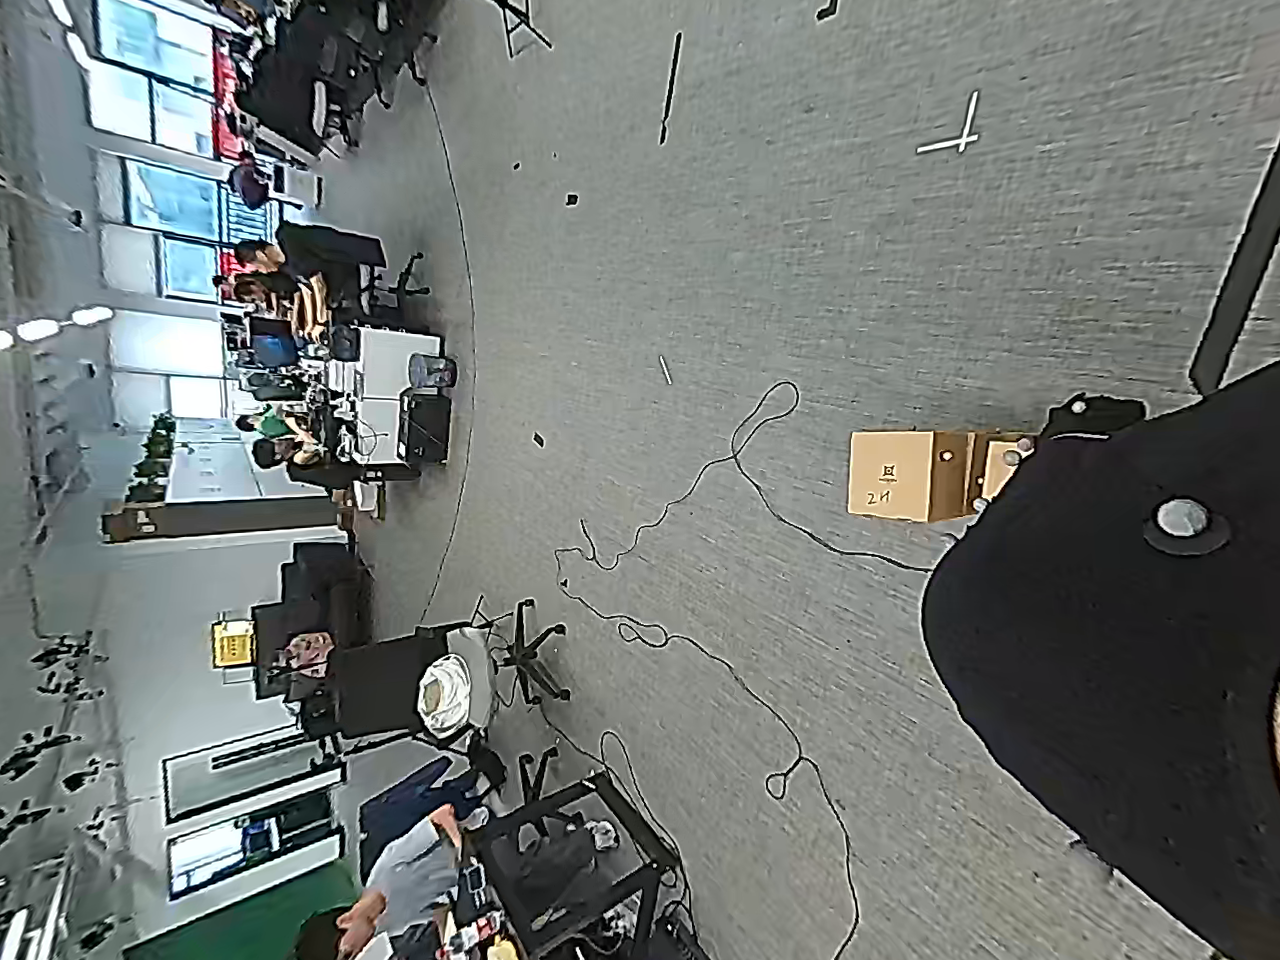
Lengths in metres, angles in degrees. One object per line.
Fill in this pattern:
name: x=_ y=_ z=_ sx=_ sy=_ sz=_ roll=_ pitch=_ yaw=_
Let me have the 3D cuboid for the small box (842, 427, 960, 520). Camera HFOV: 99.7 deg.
small box: x=0.546 y=-0.018 z=1.129 sx=0.168 sy=0.176 sz=0.179 roll=7 pitch=97 yaw=50

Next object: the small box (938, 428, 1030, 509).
small box: x=0.821 y=-0.033 z=1.313 sx=0.168 sy=0.176 sz=0.179 roll=10 pitch=99 yaw=49

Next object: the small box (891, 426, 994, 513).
small box: x=0.678 y=-0.028 z=1.228 sx=0.168 sy=0.176 sz=0.179 roll=12 pitch=100 yaw=49
